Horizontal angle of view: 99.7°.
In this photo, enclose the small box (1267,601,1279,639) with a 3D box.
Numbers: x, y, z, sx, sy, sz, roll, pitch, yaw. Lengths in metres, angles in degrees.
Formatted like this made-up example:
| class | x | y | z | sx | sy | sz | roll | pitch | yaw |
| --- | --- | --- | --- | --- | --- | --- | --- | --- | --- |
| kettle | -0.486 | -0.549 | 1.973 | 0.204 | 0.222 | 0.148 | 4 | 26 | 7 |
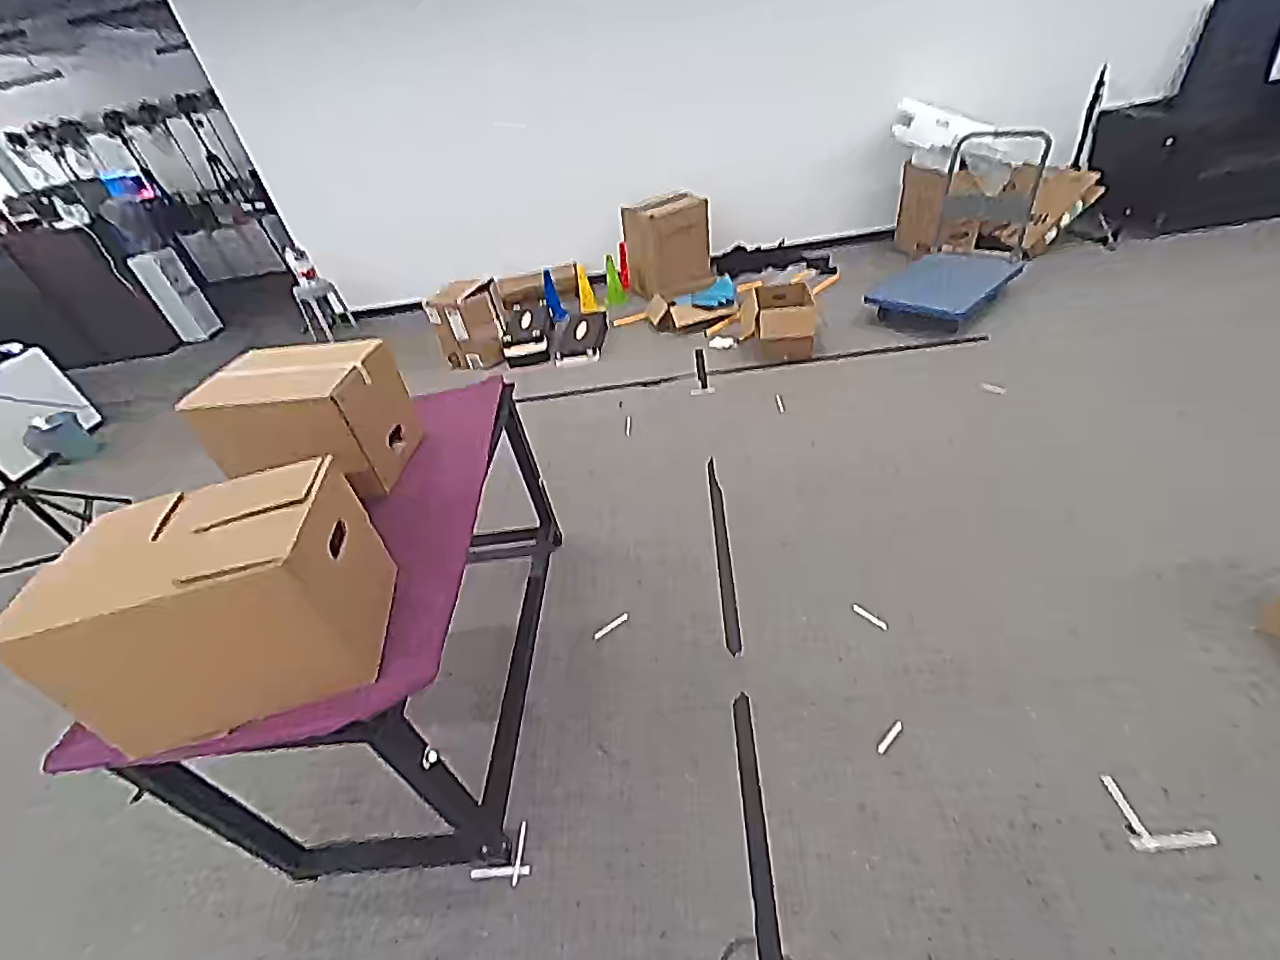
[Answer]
| class | x | y | z | sx | sy | sz | roll | pitch | yaw |
| --- | --- | --- | --- | --- | --- | --- | --- | --- | --- |
| small box | 1.835 | 0.384 | 1.421 | 0.179 | 0.176 | 0.168 | -8 | 38 | 3 |
